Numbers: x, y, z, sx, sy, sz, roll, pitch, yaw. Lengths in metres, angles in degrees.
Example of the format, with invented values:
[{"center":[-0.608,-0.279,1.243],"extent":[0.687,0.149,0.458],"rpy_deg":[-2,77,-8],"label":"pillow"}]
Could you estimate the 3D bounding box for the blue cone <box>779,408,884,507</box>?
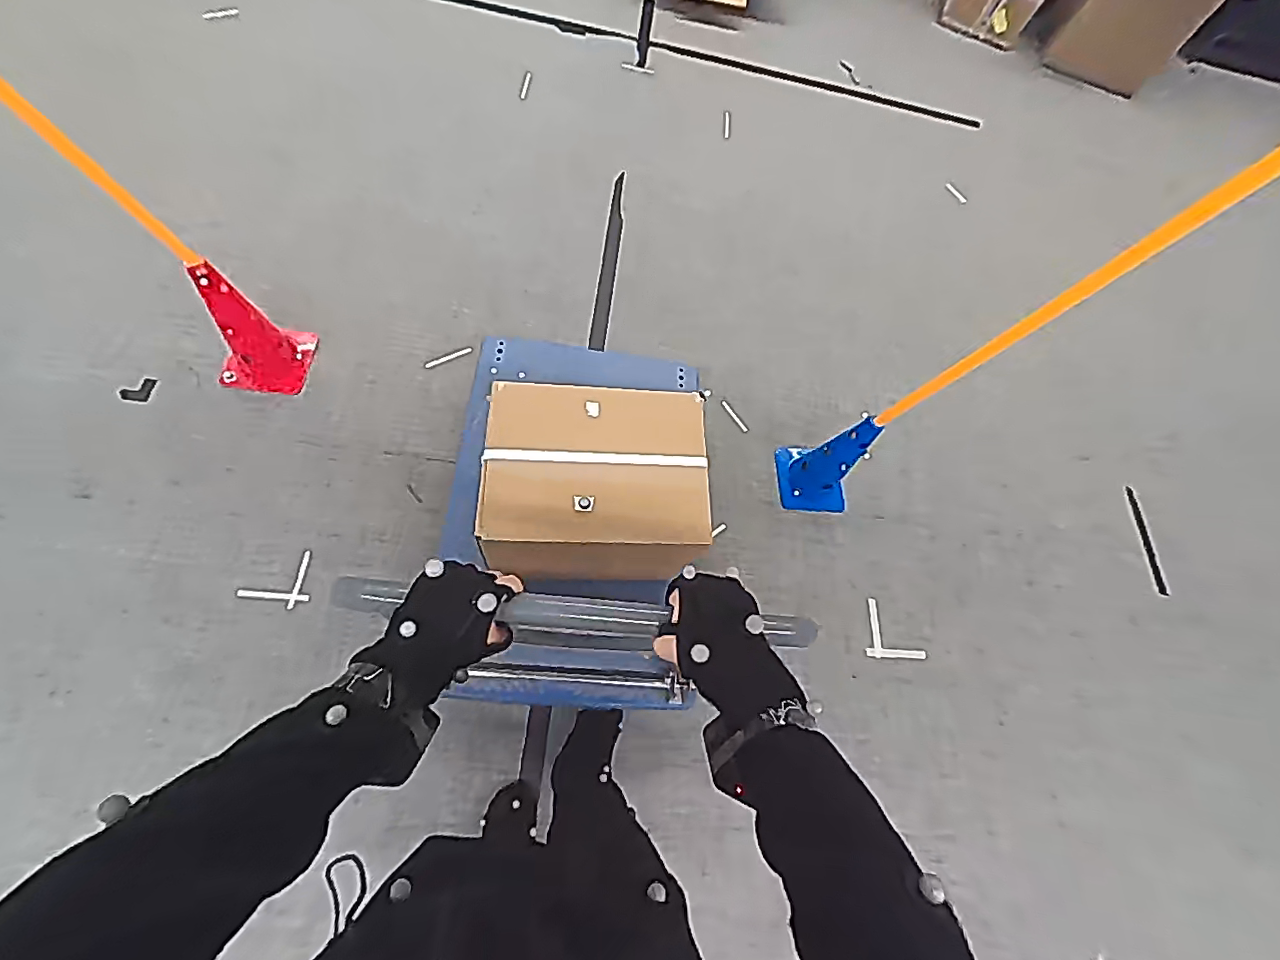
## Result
[{"center":[0.540,-0.075,1.458],"extent":[0.193,0.380,0.192],"rpy_deg":[4,66,-9],"label":"blue cone"}]
